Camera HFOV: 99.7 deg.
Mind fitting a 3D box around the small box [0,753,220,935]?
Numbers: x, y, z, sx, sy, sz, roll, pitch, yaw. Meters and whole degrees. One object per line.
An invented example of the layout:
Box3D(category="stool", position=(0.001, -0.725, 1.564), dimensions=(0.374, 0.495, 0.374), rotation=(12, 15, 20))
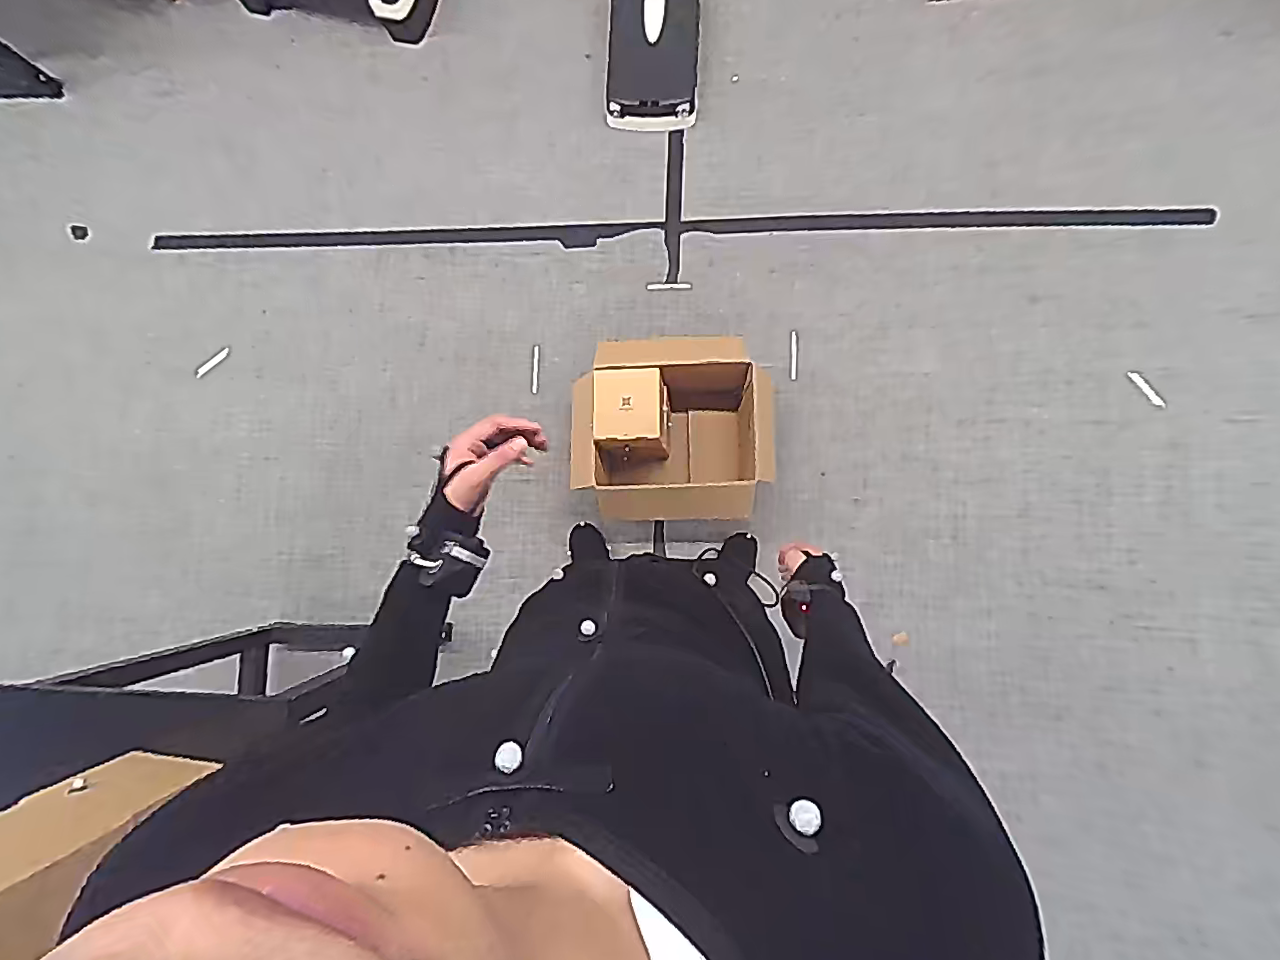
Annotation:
Box3D(category="small box", position=(-0.819, 0.554, 0.849), dimensions=(0.179, 0.176, 0.168), rotation=(6, 88, 5))
